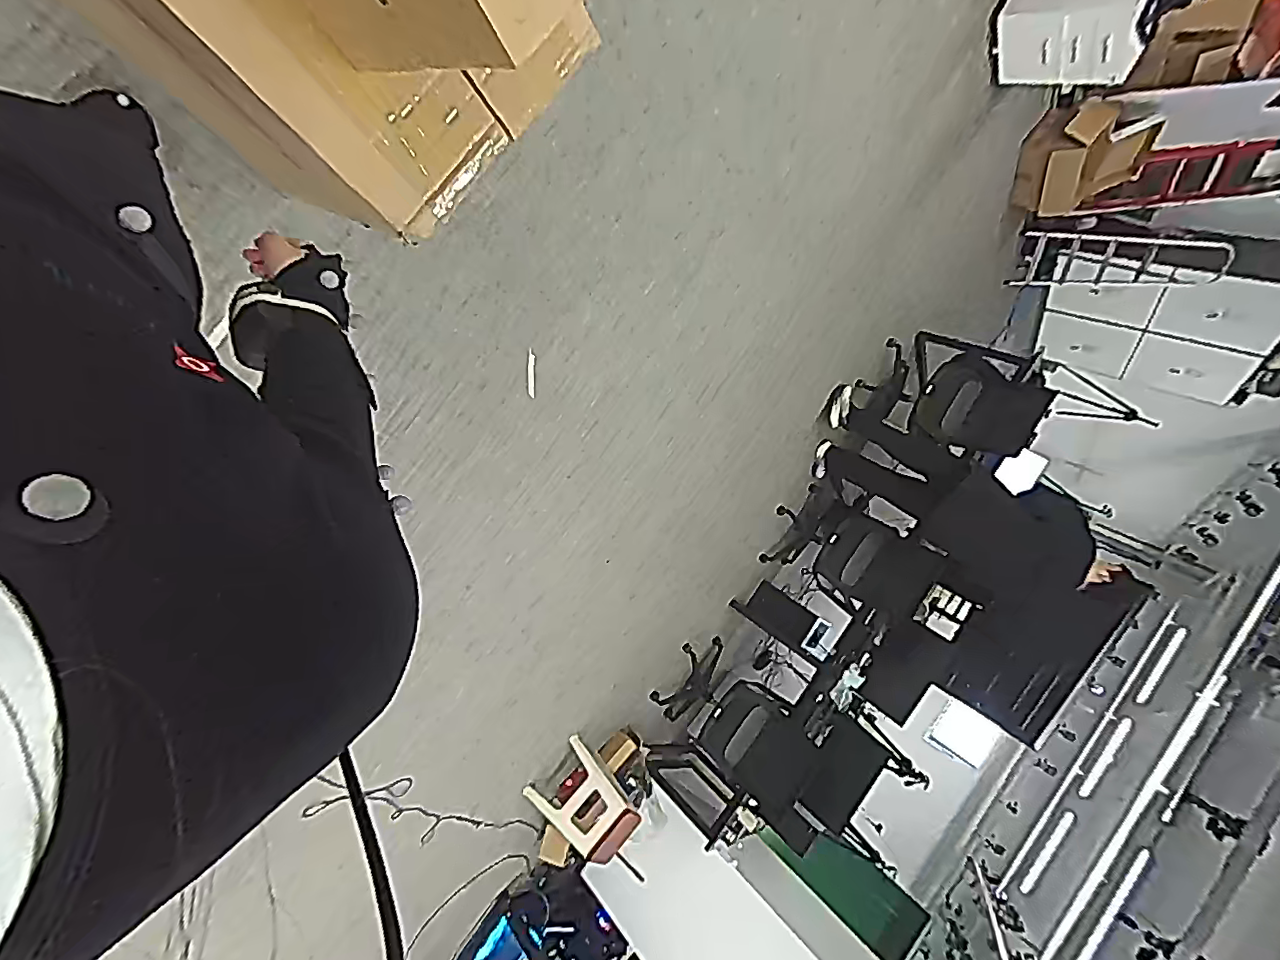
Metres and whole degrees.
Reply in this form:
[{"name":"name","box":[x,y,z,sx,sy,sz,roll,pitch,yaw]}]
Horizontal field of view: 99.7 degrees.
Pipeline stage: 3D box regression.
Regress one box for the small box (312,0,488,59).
[{"name":"small box","box":[-0.241,-0.526,0.494,0.168,0.176,0.179,-52,144,-7]}]
